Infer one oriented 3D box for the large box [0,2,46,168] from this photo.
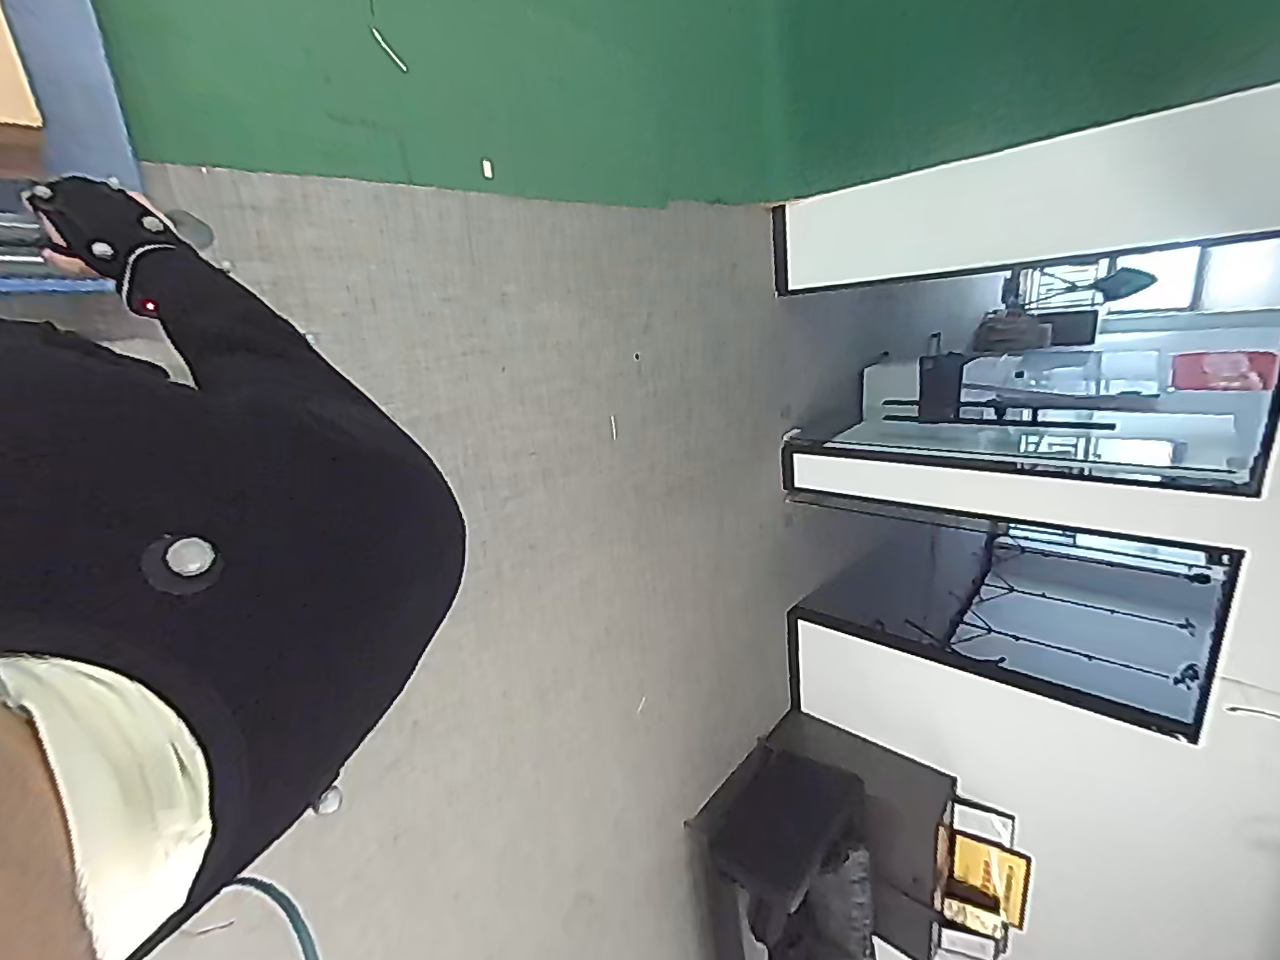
[{"bbox_3d":[-1.084,-0.678,0.710,0.320,0.320,0.408,-22,114,-43],"label":"large box"}]
